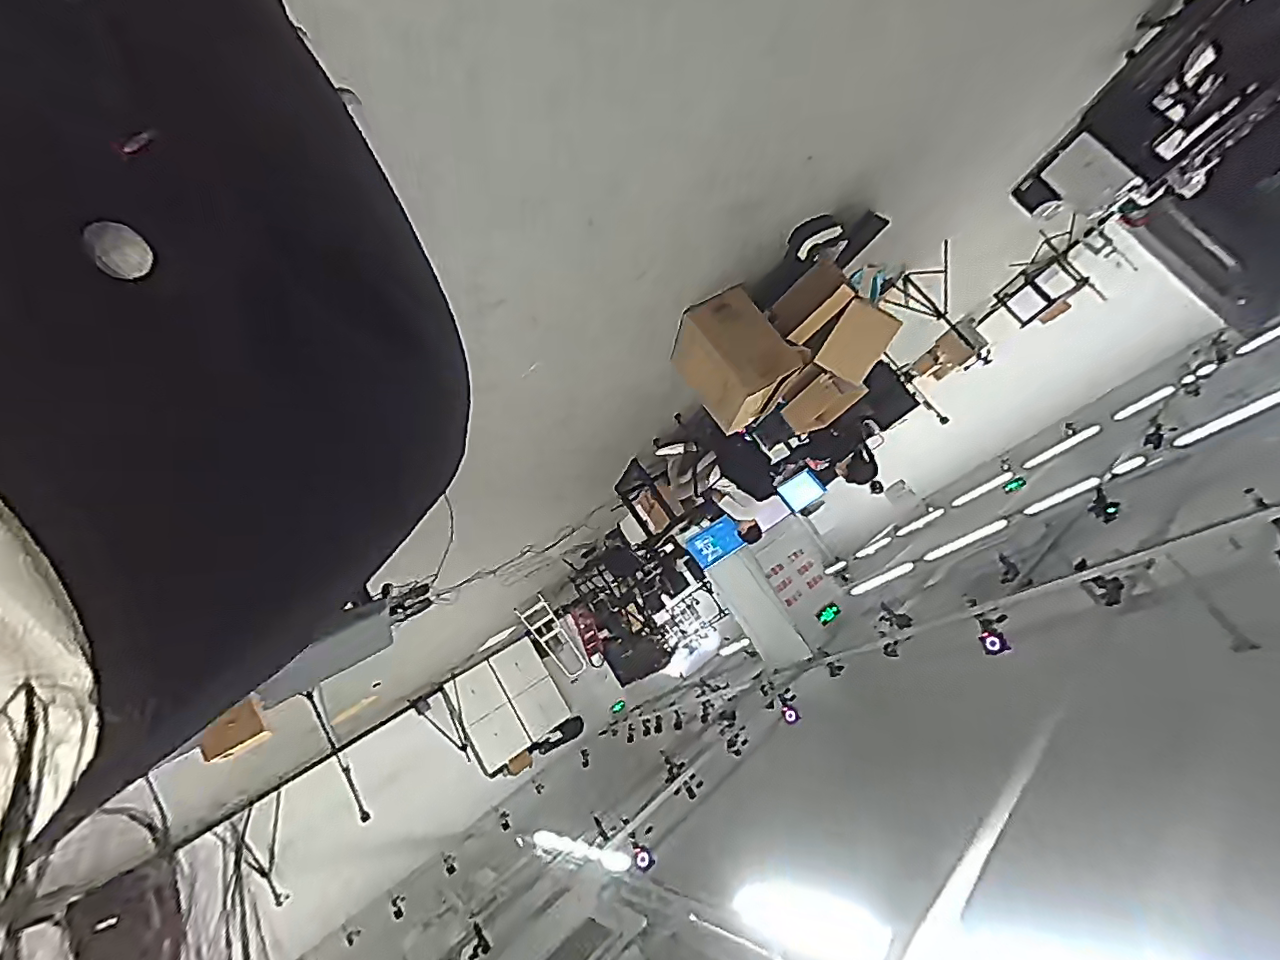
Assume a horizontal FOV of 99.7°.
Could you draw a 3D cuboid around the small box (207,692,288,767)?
[{"bbox_3d":[-1.377,0.874,1.895,0.179,0.176,0.168,-26,164,-30],"label":"small box"}]
